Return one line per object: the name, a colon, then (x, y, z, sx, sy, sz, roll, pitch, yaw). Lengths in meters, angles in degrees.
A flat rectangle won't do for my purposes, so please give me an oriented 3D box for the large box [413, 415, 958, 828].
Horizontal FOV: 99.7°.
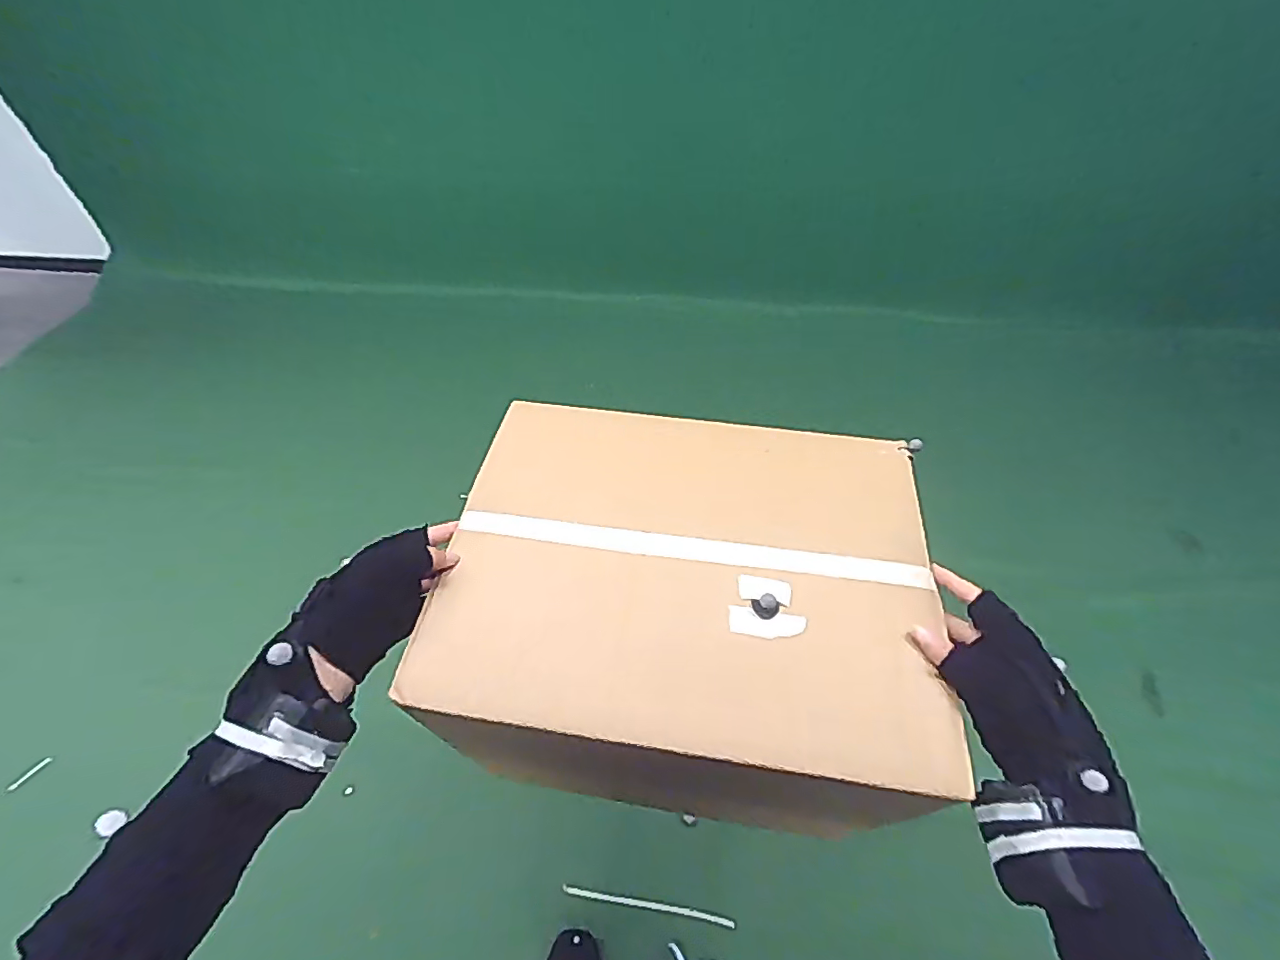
large box: (0.044, 0.157, 0.593, 0.408, 0.320, 0.320, 6, 53, 6)
